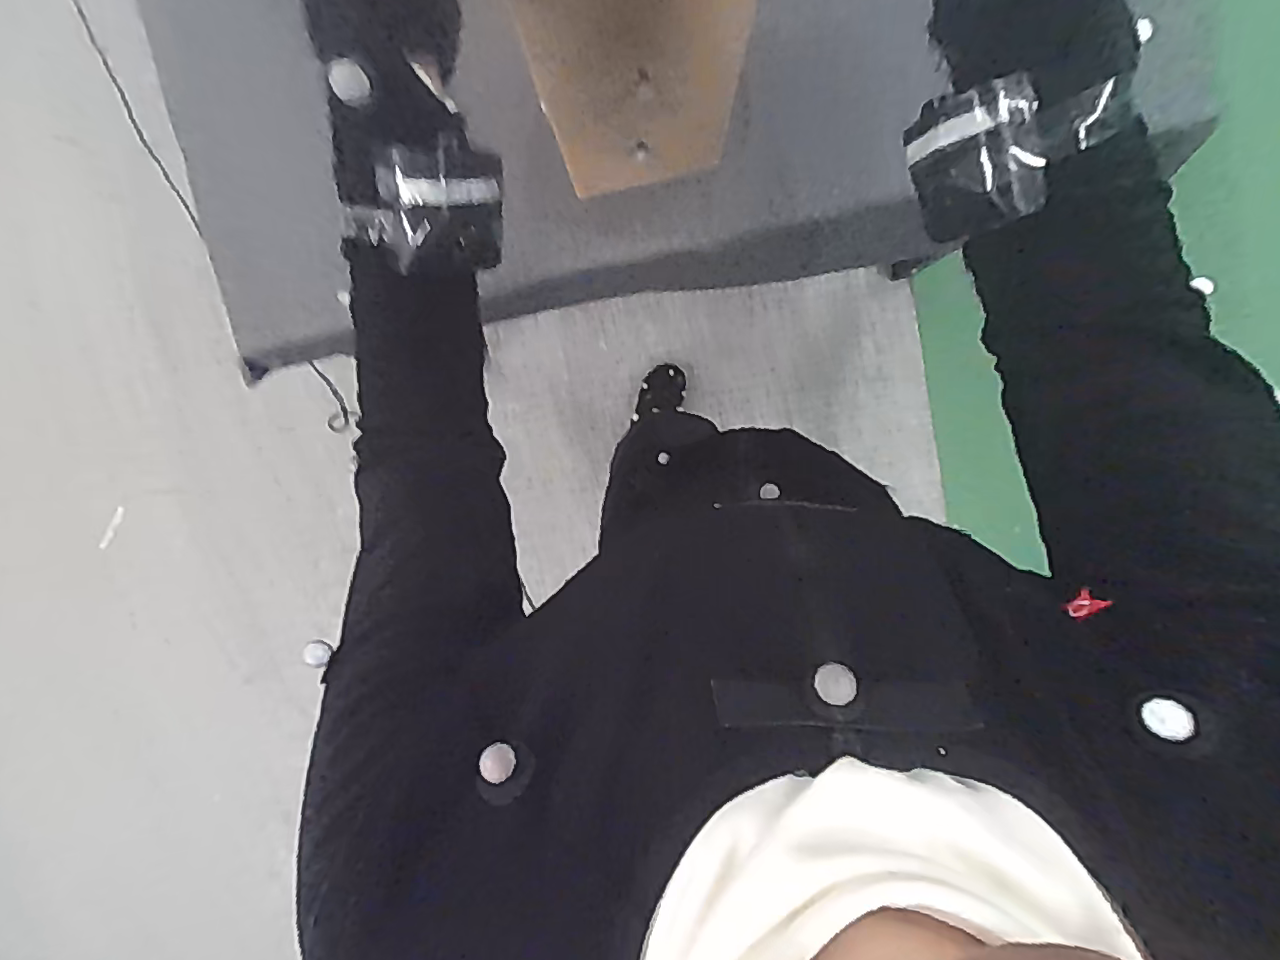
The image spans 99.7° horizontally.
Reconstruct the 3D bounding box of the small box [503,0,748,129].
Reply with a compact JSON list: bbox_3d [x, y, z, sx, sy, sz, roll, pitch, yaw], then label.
[{"bbox_3d":[-0.017,-0.411,0.415,0.179,0.176,0.168,-11,95,3],"label":"small box"}]

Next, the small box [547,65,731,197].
[{"bbox_3d":[-0.010,-0.430,0.574,0.179,0.176,0.168,-9,93,3],"label":"small box"}]
